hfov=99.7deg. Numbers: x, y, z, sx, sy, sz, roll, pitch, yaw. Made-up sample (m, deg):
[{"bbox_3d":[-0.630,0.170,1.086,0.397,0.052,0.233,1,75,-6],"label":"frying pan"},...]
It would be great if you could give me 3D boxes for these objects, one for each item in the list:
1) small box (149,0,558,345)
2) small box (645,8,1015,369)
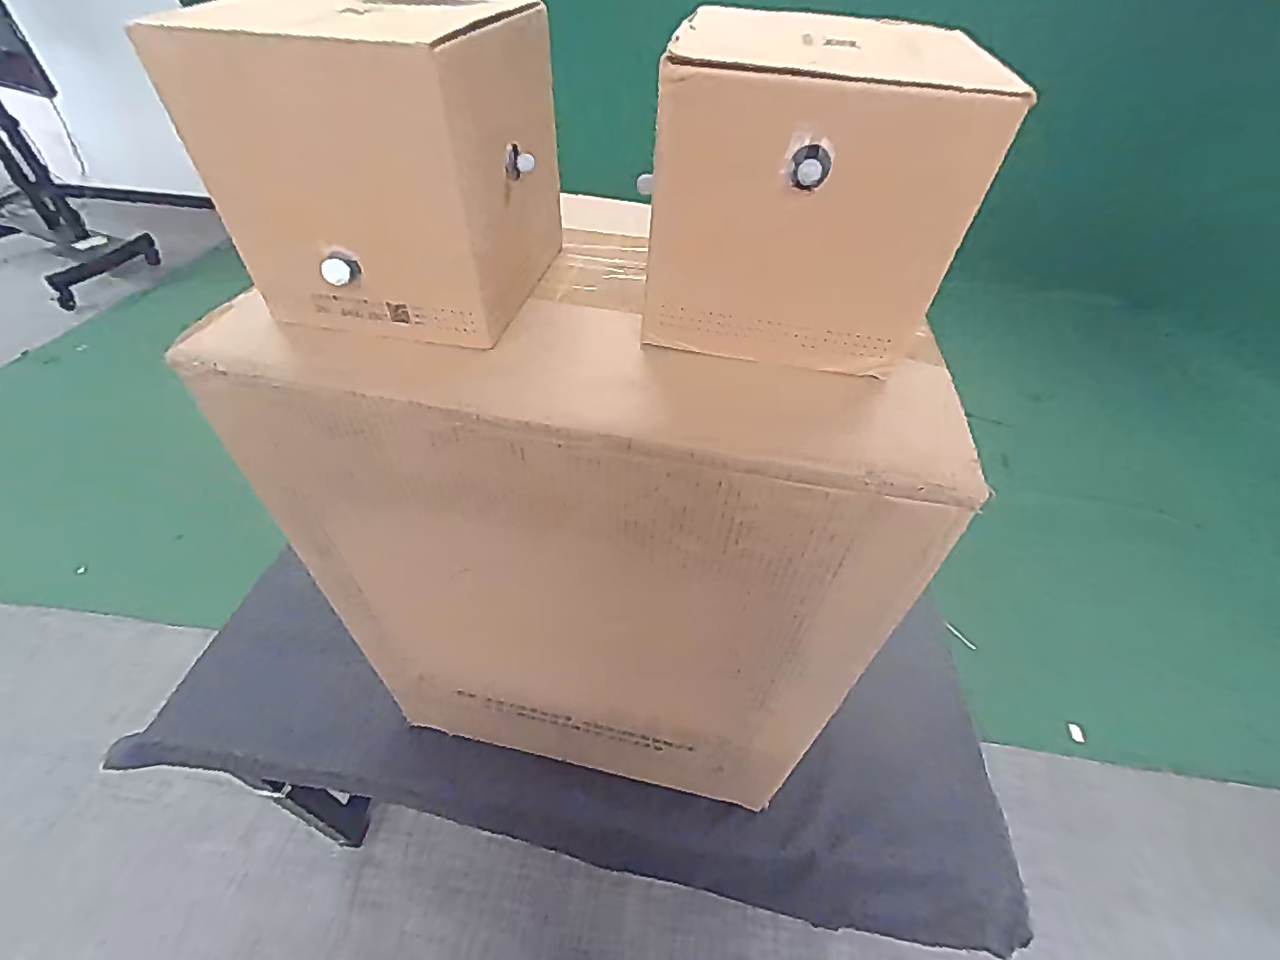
[{"bbox_3d":[-0.160,-0.222,0.382,0.168,0.176,0.179,9,48,6],"label":"small box"},{"bbox_3d":[0.104,-0.198,0.375,0.179,0.176,0.168,11,49,3],"label":"small box"}]
